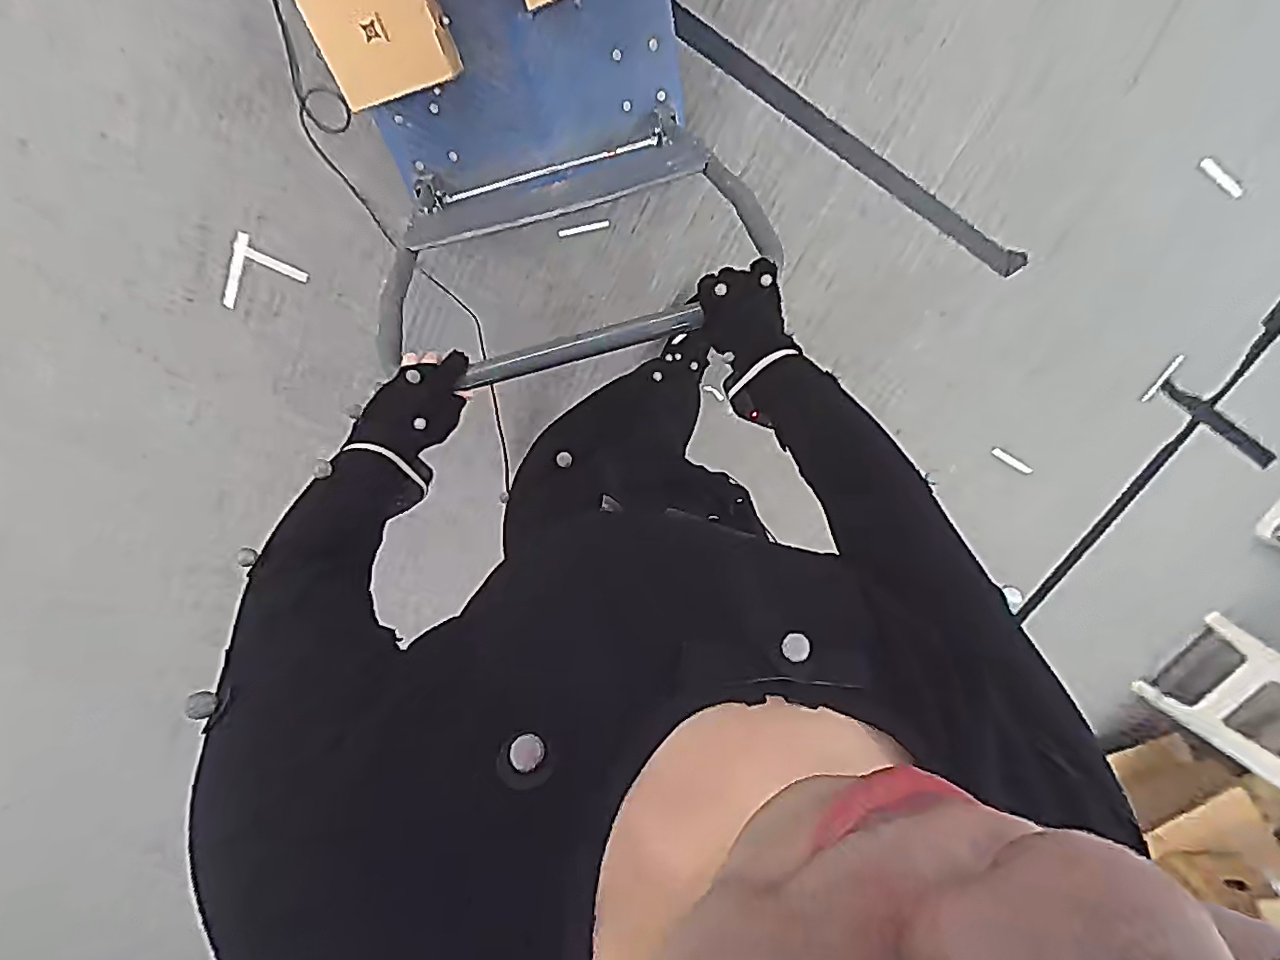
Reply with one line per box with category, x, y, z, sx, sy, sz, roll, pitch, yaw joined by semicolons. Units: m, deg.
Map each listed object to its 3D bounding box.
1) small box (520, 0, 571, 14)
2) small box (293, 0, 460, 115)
small box;-0.125;-0.835;0.815;0.179;0.176;0.168;-19;131;6
small box;-0.408;-0.711;0.866;0.179;0.176;0.168;-18;130;2
